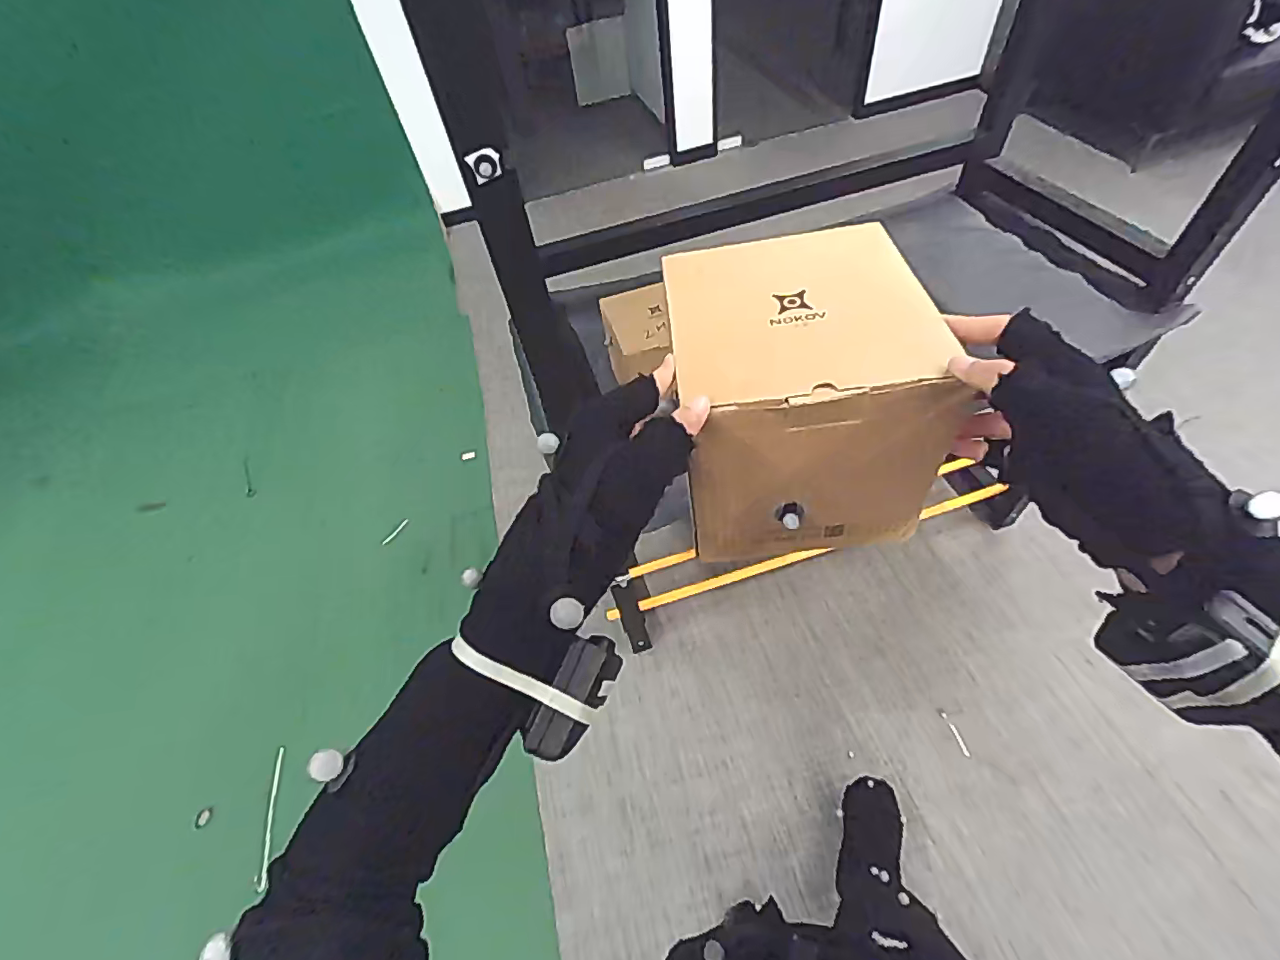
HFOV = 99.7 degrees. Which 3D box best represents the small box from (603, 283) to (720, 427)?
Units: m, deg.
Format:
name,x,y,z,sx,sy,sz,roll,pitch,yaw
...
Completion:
name,x,y,z,sx,sy,sz,roll,pitch,yaw
small box,0.040,-0.229,0.998,0.168,0.176,0.179,-17,52,-5
